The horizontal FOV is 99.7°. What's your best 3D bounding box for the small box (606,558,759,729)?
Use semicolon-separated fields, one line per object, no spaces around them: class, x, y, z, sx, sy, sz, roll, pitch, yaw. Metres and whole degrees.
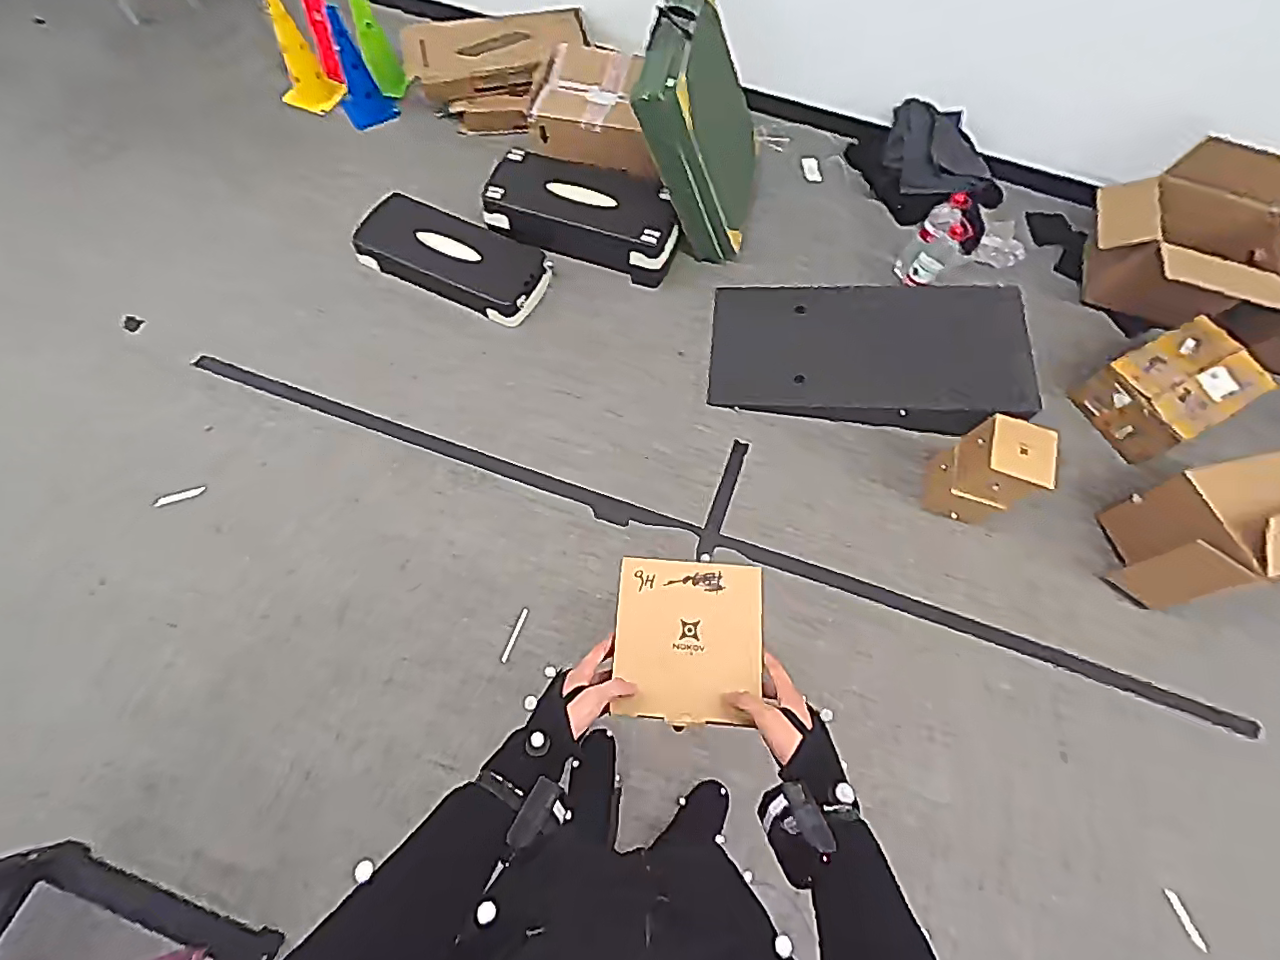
small box;0.053;0.205;0.687;0.168;0.176;0.179;4;71;2
